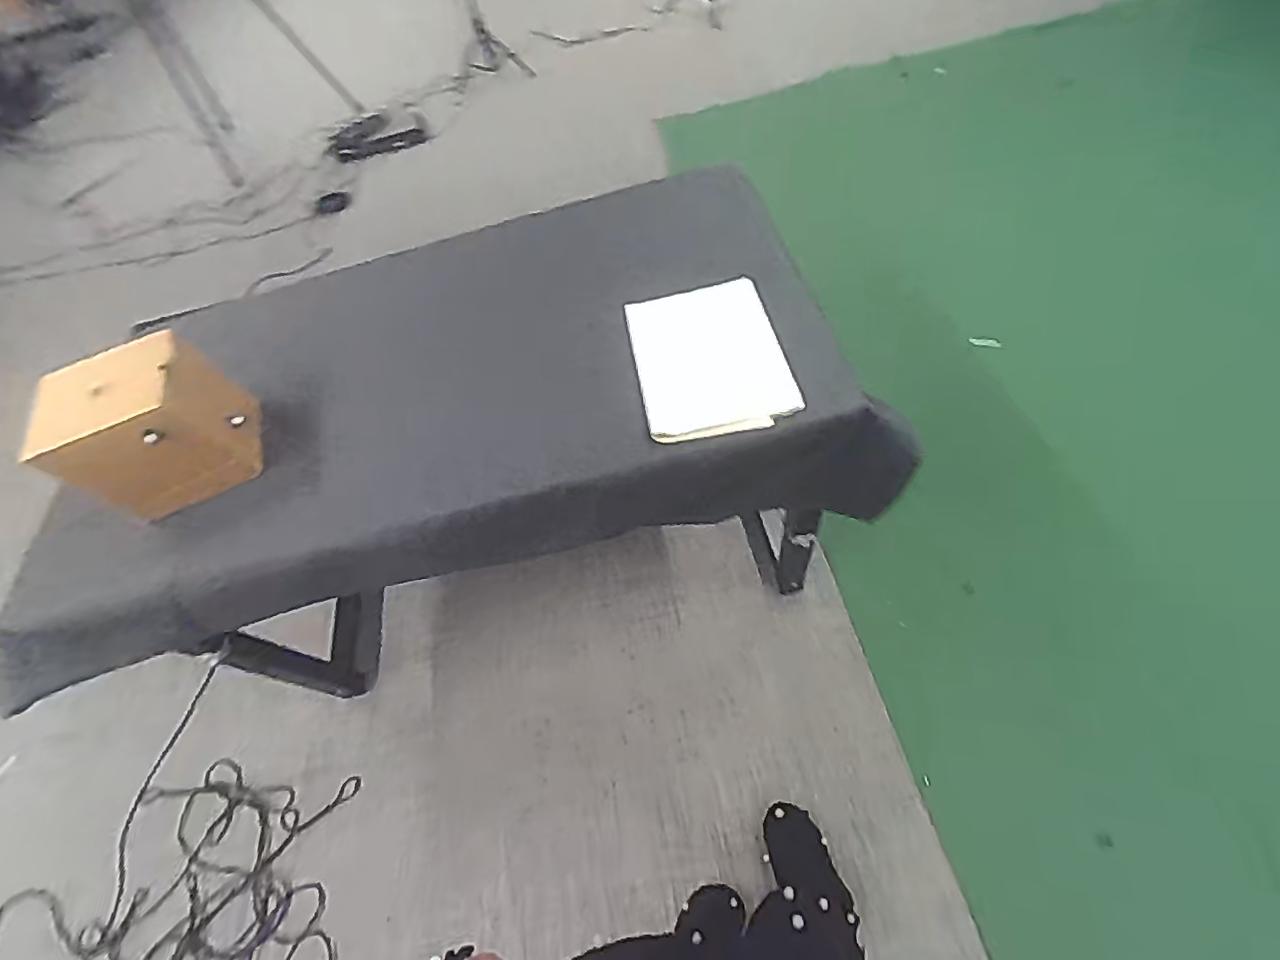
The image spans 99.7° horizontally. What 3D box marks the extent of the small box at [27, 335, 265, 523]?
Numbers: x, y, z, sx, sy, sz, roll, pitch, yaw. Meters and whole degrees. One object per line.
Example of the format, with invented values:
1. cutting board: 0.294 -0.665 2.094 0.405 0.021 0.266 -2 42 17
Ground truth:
1. small box: -0.678 -0.065 0.769 0.179 0.176 0.168 -25 57 -6
